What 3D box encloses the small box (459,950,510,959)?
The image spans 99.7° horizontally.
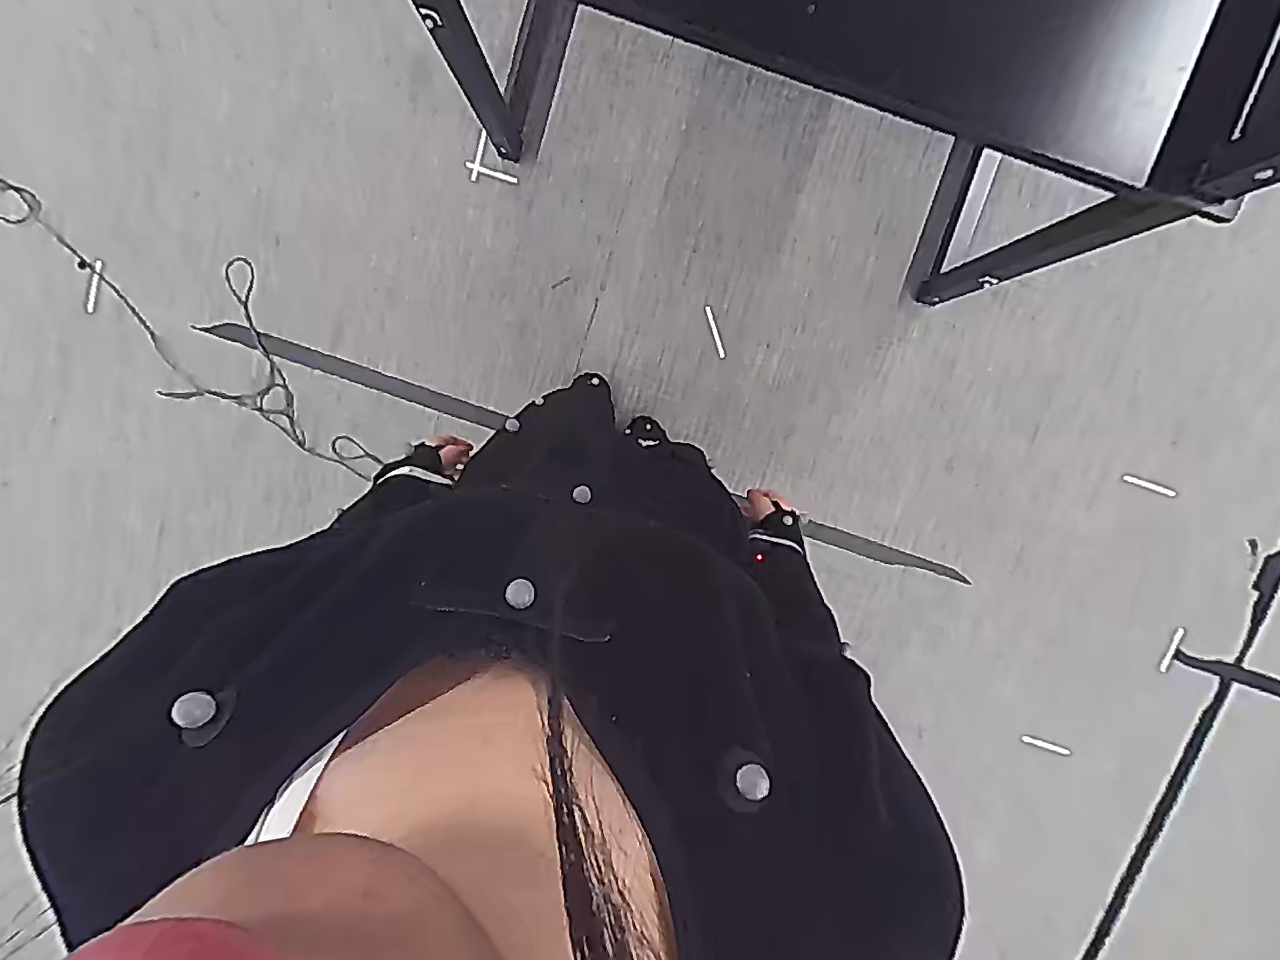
[{"bbox_3d":[-0.482,1.553,1.597,0.168,0.176,0.179,8,97,-3],"label":"small box"}]
